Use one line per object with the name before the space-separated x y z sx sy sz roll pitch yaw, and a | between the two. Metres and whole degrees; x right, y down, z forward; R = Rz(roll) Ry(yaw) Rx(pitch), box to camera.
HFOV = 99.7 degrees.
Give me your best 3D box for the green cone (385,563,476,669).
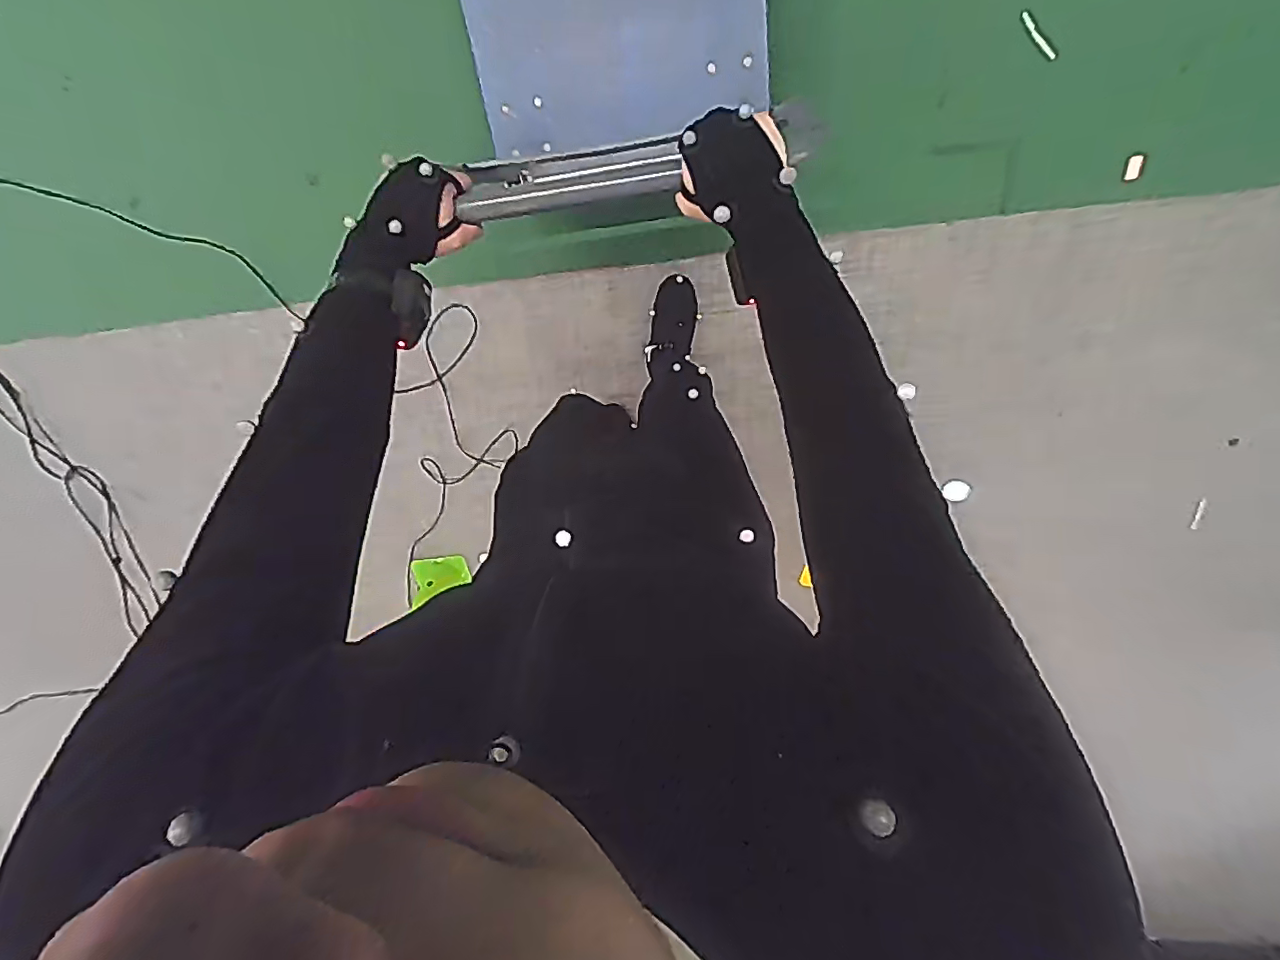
green cone | -0.699 0.450 1.723 0.202 0.368 0.200 -7 116 9
